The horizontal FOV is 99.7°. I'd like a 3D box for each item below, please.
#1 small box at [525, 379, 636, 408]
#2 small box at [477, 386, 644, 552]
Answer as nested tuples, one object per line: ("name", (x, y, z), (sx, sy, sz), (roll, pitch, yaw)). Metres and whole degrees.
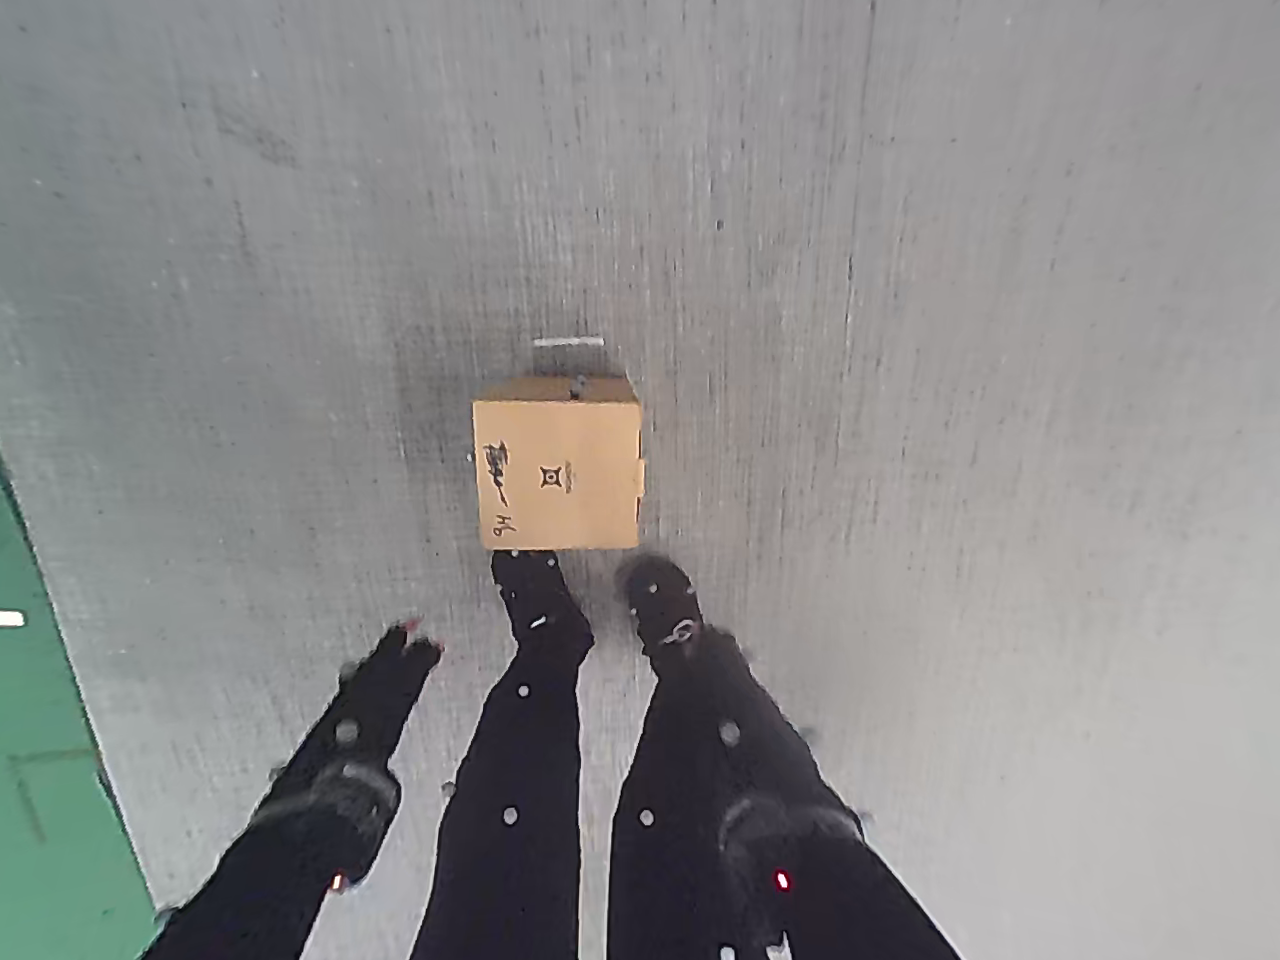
("small box", (-0.099, -0.061, 0.821), (0.179, 0.176, 0.168), (-2, 107, -4))
("small box", (-0.093, -0.021, 0.662), (0.179, 0.176, 0.168), (1, 106, -5))
